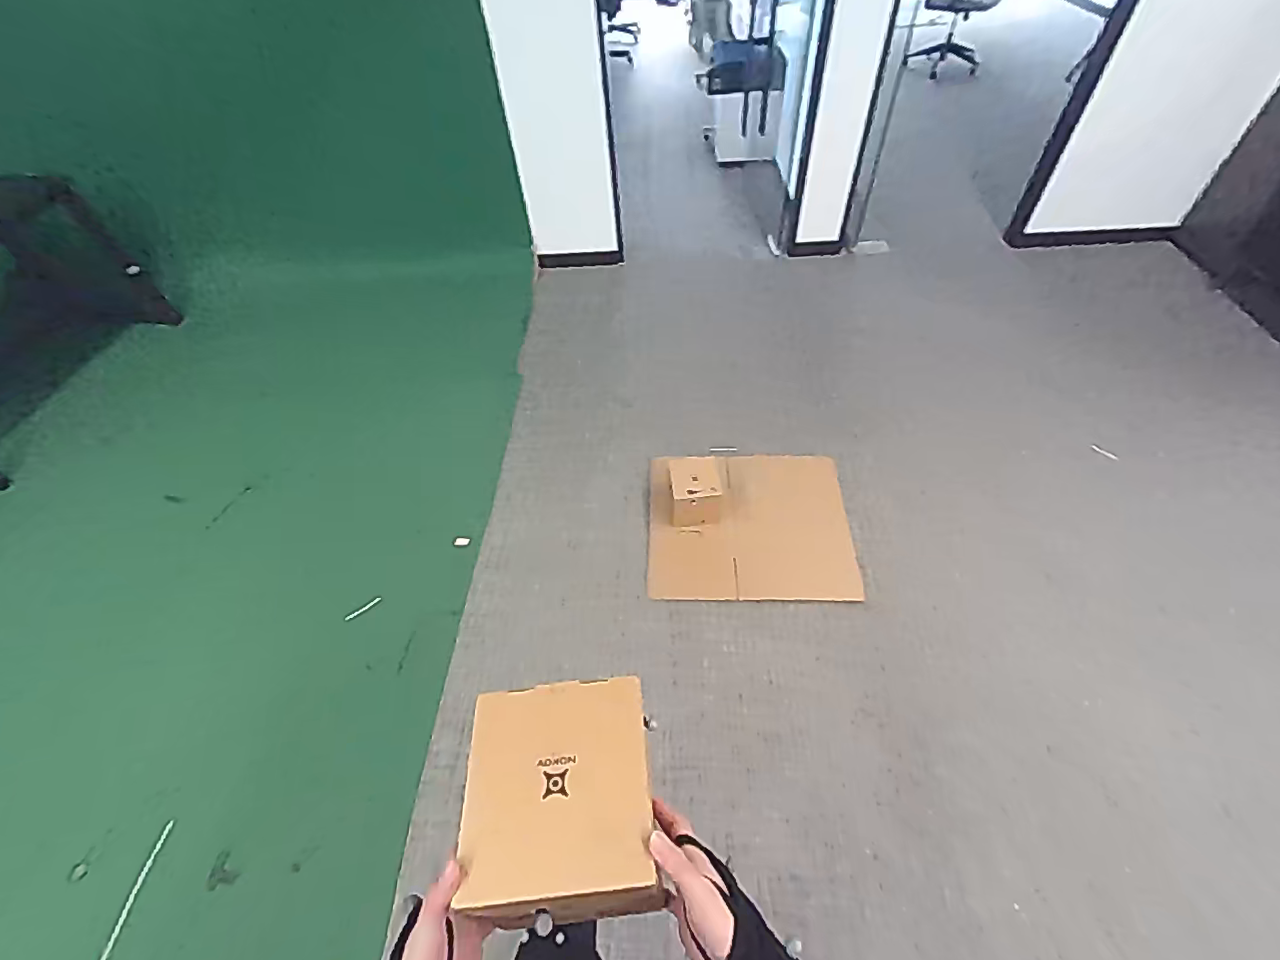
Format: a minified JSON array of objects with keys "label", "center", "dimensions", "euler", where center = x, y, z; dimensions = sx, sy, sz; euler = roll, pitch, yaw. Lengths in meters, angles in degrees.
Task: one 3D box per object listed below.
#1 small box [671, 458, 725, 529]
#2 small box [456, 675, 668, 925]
[{"label":"small box","center":[0.197,0.049,1.885],"dimensions":[0.168,0.176,0.179],"euler":[-6,50,-1]},{"label":"small box","center":[-0.064,0.321,0.539],"dimensions":[0.168,0.176,0.179],"euler":[-6,44,0]}]
